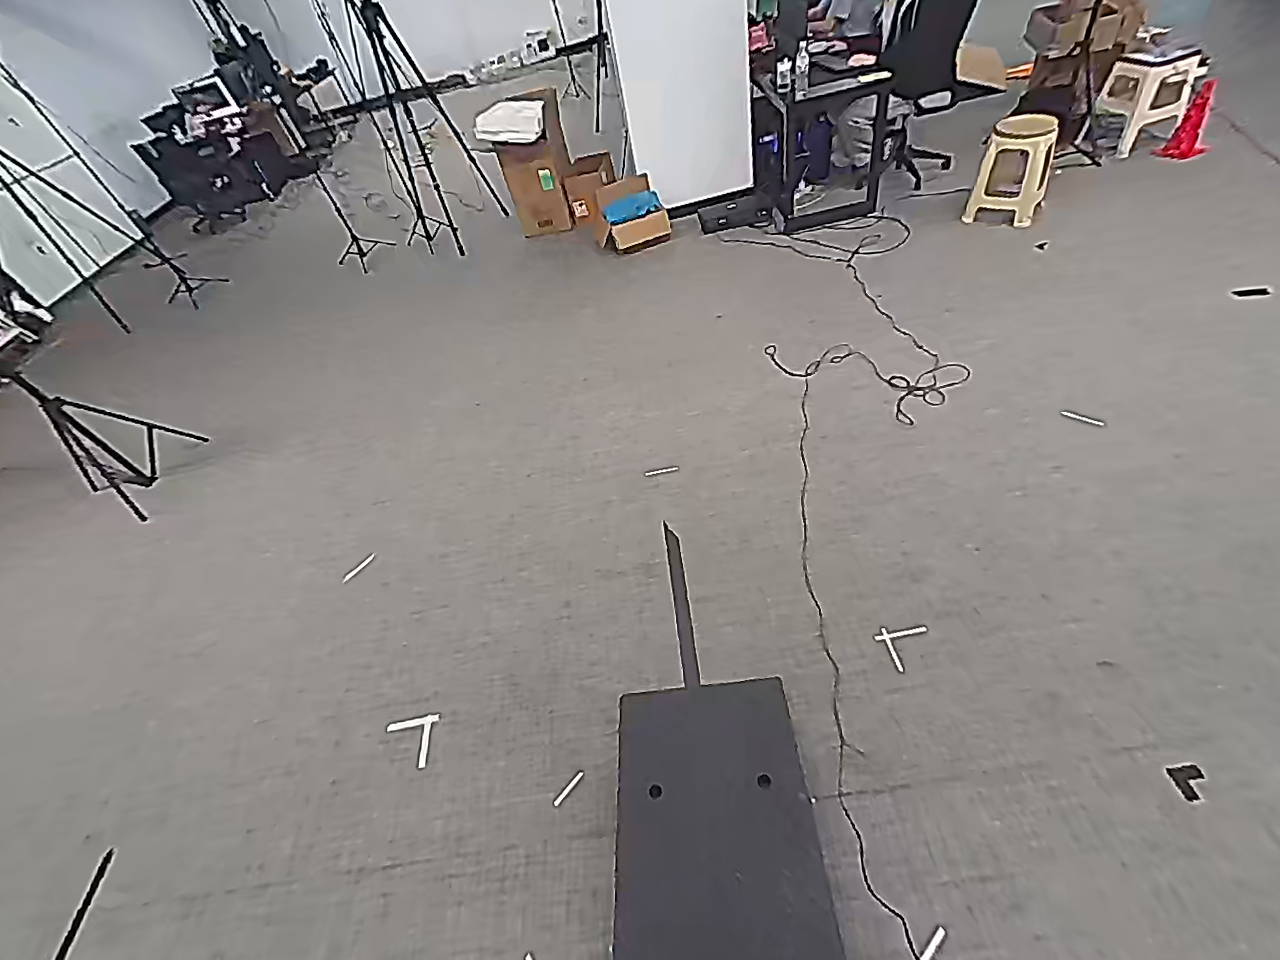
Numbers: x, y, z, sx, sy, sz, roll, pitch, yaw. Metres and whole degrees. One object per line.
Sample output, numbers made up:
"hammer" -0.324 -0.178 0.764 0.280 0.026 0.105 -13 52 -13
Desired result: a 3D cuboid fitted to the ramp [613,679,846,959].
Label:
"ramp" 0.178 0.928 1.236 0.509 0.206 0.991 -11 45 6
